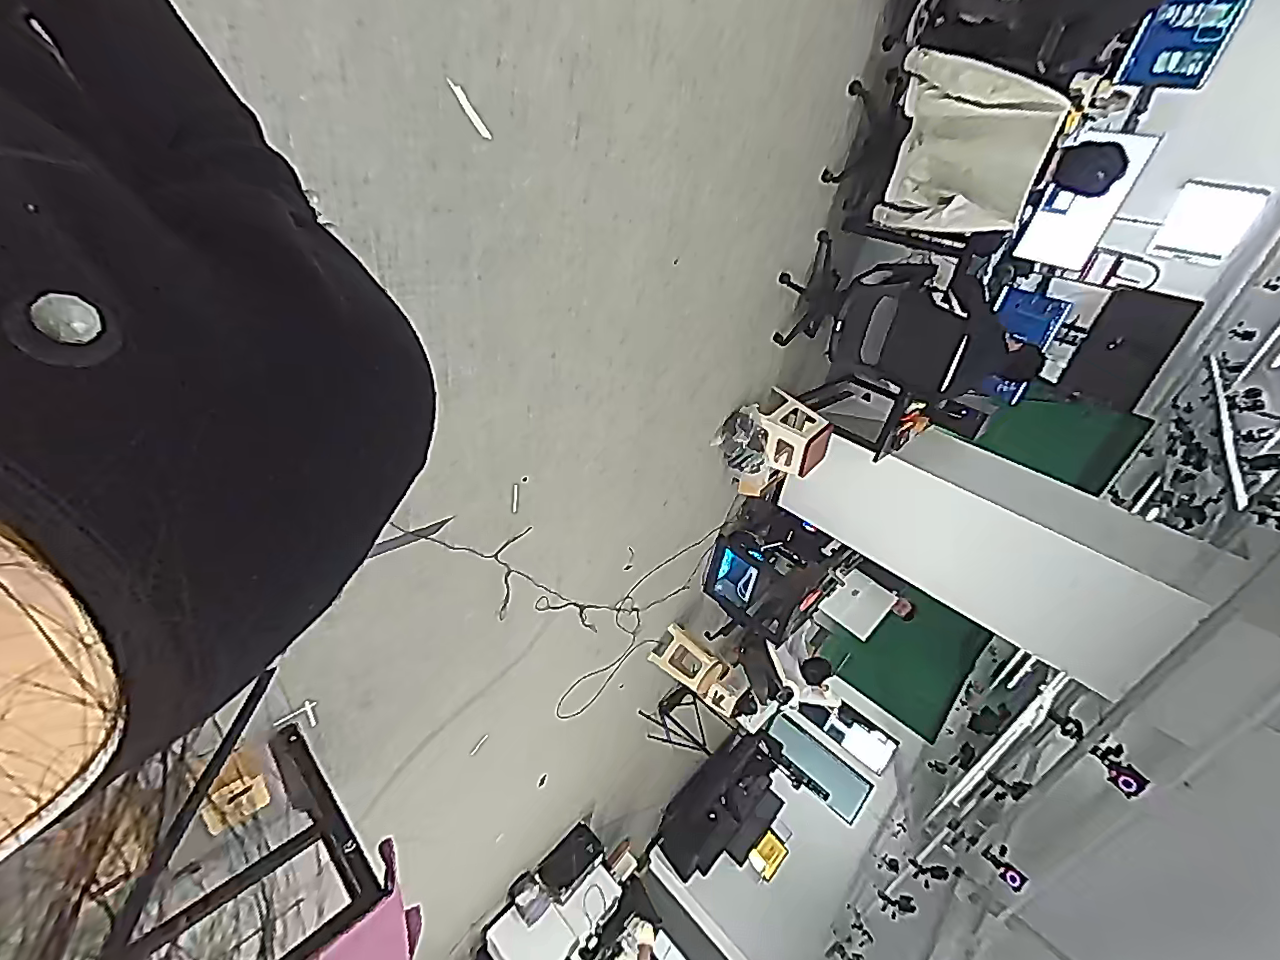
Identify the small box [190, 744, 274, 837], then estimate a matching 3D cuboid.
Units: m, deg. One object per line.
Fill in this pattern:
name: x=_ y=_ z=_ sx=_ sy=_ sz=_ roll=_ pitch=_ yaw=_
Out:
small box: x=-1.334 y=1.003 z=1.766 sx=0.168 sy=0.176 sz=0.179 roll=-23 pitch=136 yaw=-43
